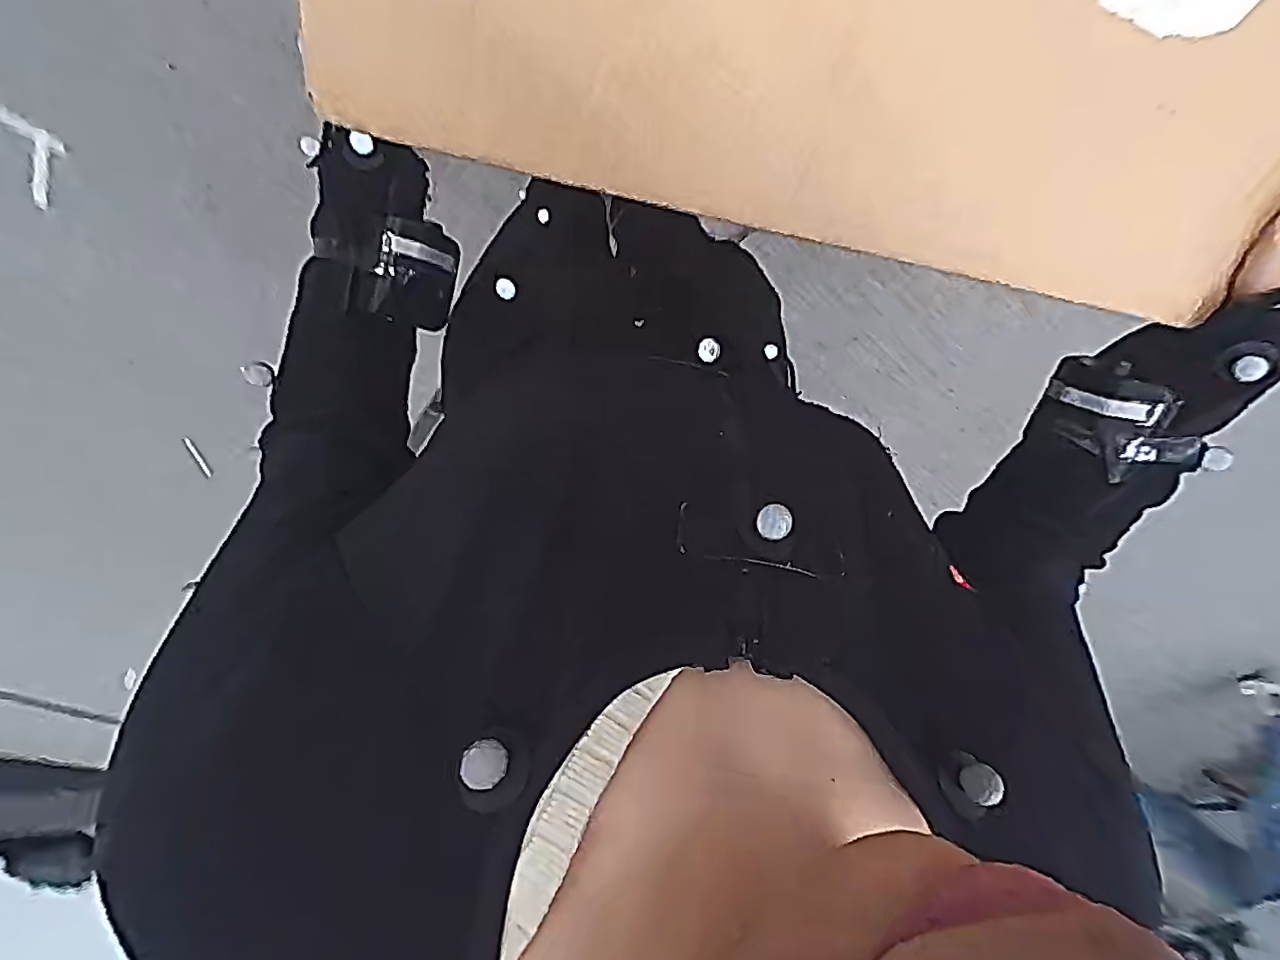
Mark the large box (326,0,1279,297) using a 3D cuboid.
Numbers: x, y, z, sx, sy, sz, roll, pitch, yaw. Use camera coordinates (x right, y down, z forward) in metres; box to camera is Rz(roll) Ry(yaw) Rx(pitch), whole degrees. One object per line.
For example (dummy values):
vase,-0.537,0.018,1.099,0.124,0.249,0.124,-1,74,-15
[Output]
large box,0.095,-0.316,0.251,0.408,0.320,0.320,4,130,-16
